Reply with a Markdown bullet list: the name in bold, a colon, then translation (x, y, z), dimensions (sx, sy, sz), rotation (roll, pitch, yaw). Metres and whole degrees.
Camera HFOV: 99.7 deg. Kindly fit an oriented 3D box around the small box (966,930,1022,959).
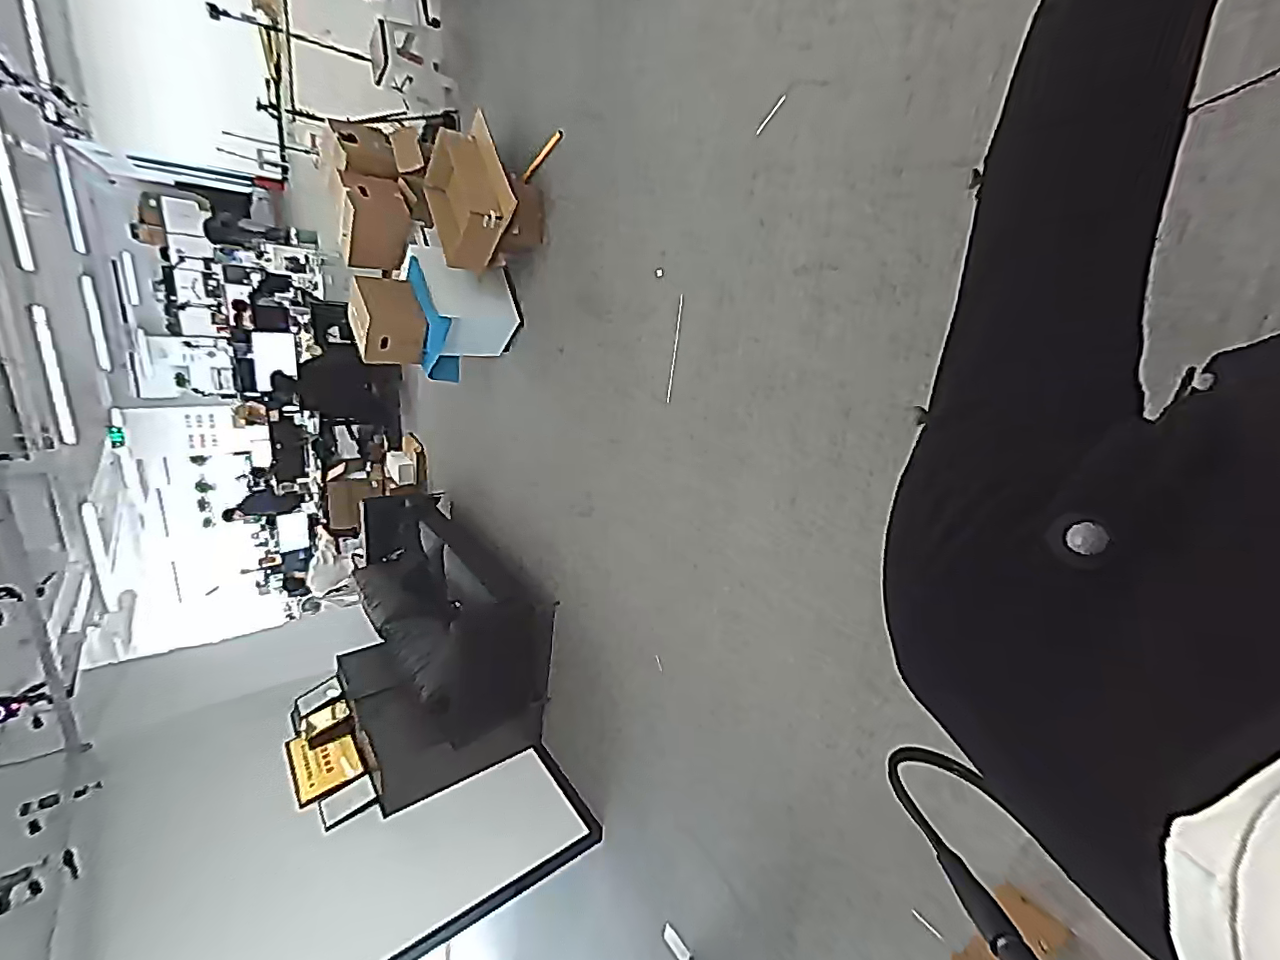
- **small box**: translation (0.911, 1.314, 1.375), dimensions (0.168, 0.176, 0.179), rotation (27, 118, 47)
